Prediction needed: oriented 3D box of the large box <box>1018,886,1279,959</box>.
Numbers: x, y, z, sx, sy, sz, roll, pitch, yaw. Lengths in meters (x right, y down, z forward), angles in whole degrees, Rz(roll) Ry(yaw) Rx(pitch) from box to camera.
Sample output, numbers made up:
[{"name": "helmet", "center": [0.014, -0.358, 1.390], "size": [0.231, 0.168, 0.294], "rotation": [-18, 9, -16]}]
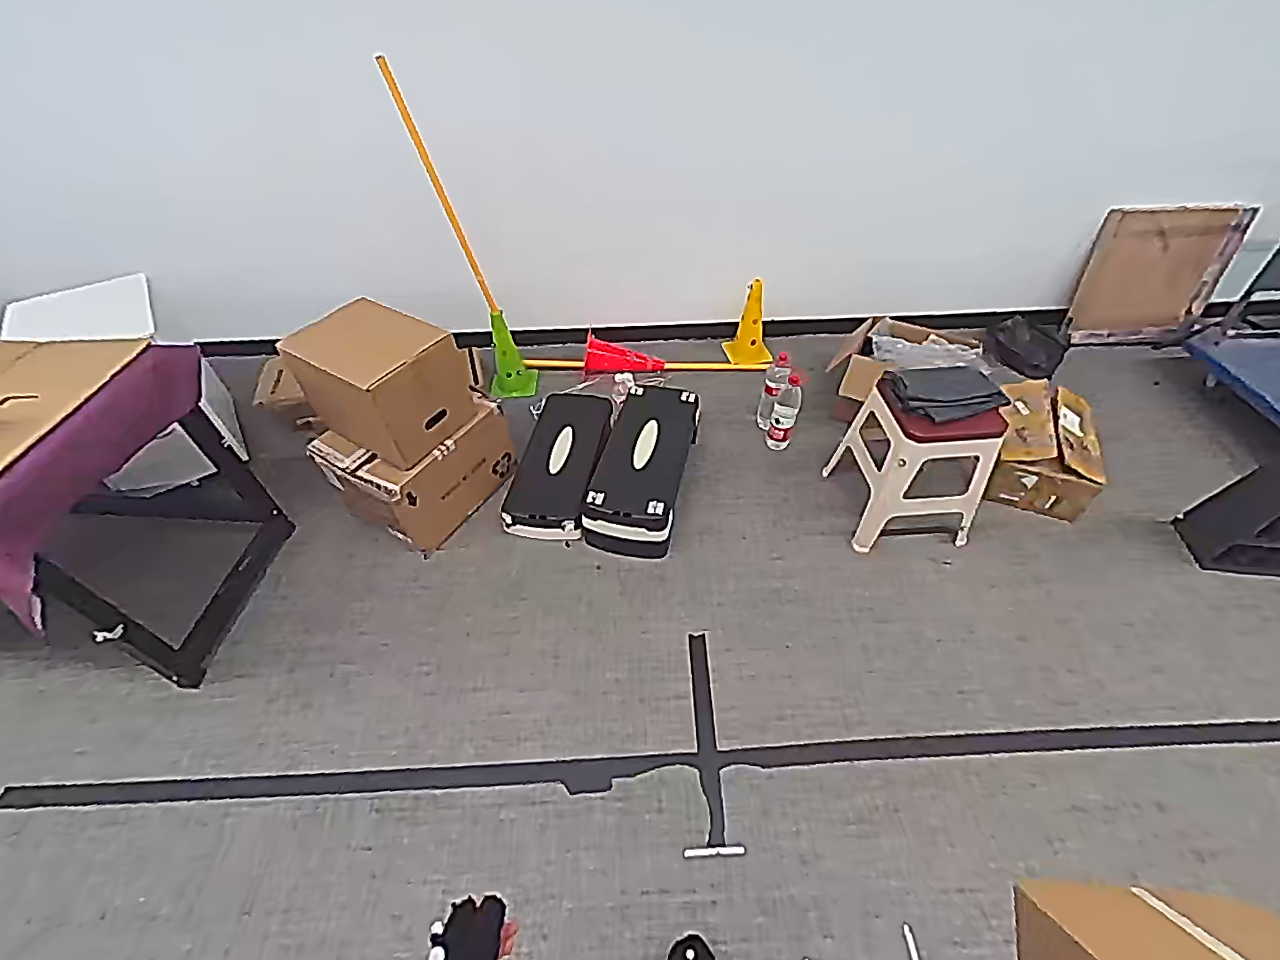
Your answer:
[{"name": "large box", "center": [0.648, 0.692, 0.522], "size": [0.320, 0.408, 0.320], "rotation": [3, 82, 4]}]
